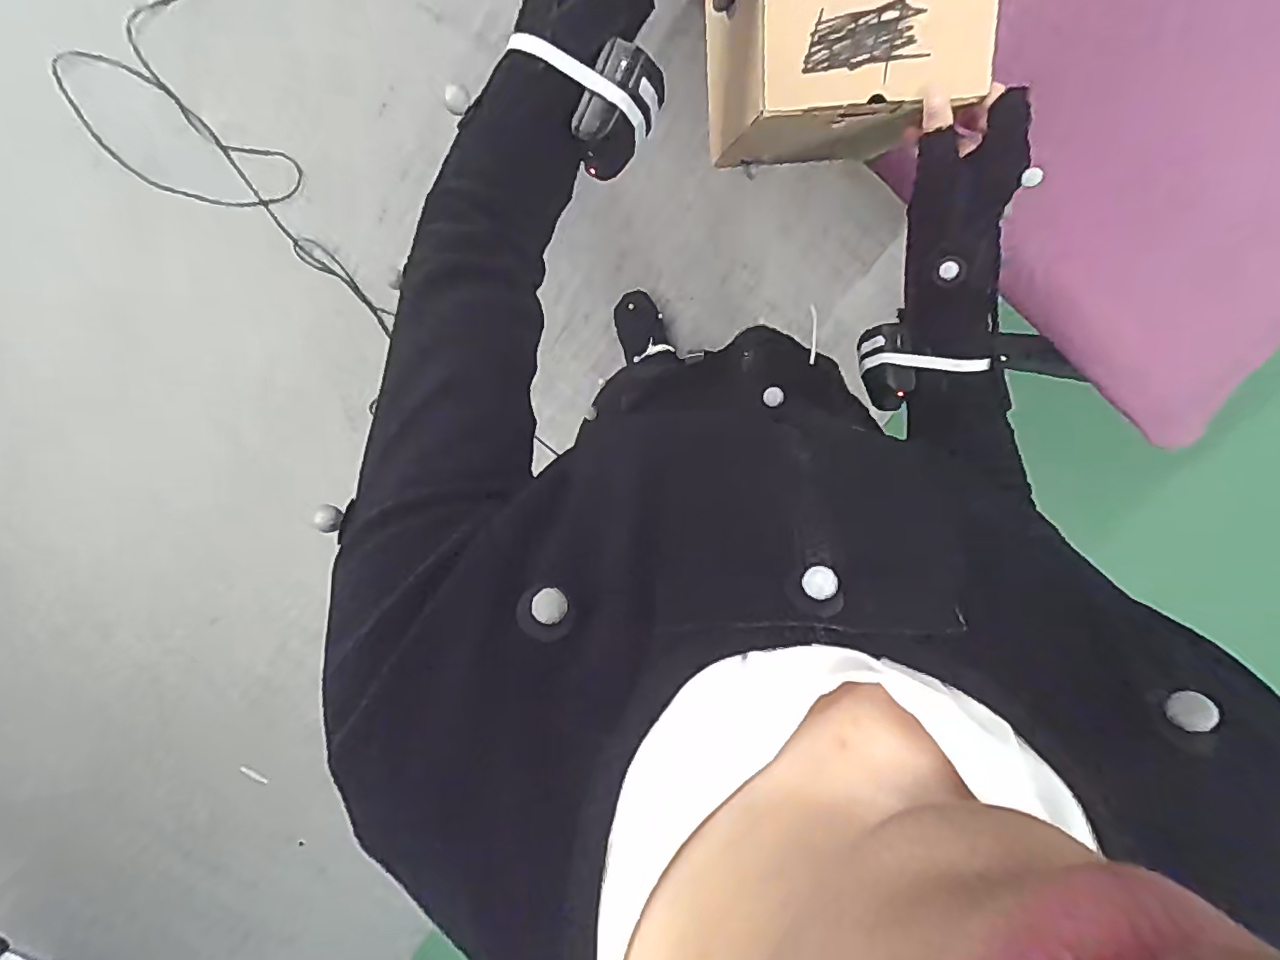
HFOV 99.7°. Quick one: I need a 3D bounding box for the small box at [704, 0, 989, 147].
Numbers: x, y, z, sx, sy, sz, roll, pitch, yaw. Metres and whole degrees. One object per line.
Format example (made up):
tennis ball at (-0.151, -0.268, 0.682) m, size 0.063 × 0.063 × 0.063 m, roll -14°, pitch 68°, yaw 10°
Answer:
small box at (0.147, -0.380, 0.427) m, size 0.168 × 0.176 × 0.179 m, roll -5°, pitch 109°, yaw -3°
